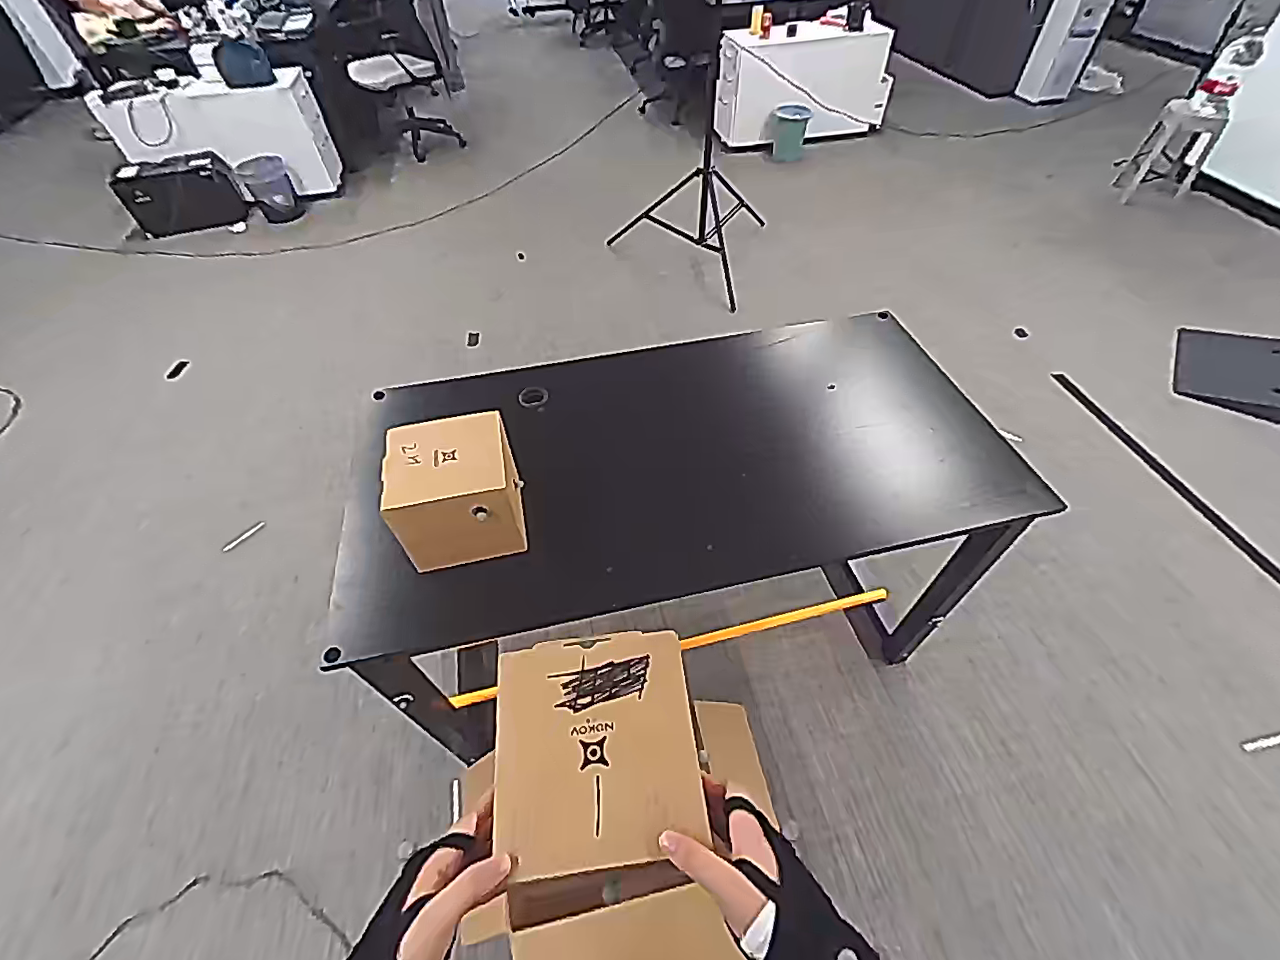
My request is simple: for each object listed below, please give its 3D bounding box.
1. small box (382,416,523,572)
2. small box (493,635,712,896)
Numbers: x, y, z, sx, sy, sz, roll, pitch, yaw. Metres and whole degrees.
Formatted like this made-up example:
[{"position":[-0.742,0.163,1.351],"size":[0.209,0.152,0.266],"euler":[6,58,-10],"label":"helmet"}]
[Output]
[{"position":[-0.288,0.025,0.865],"size":[0.179,0.176,0.168],"euler":[-11,50,-8],"label":"small box"},{"position":[-0.033,0.272,0.513],"size":[0.168,0.176,0.179],"euler":[-7,51,-2],"label":"small box"}]
